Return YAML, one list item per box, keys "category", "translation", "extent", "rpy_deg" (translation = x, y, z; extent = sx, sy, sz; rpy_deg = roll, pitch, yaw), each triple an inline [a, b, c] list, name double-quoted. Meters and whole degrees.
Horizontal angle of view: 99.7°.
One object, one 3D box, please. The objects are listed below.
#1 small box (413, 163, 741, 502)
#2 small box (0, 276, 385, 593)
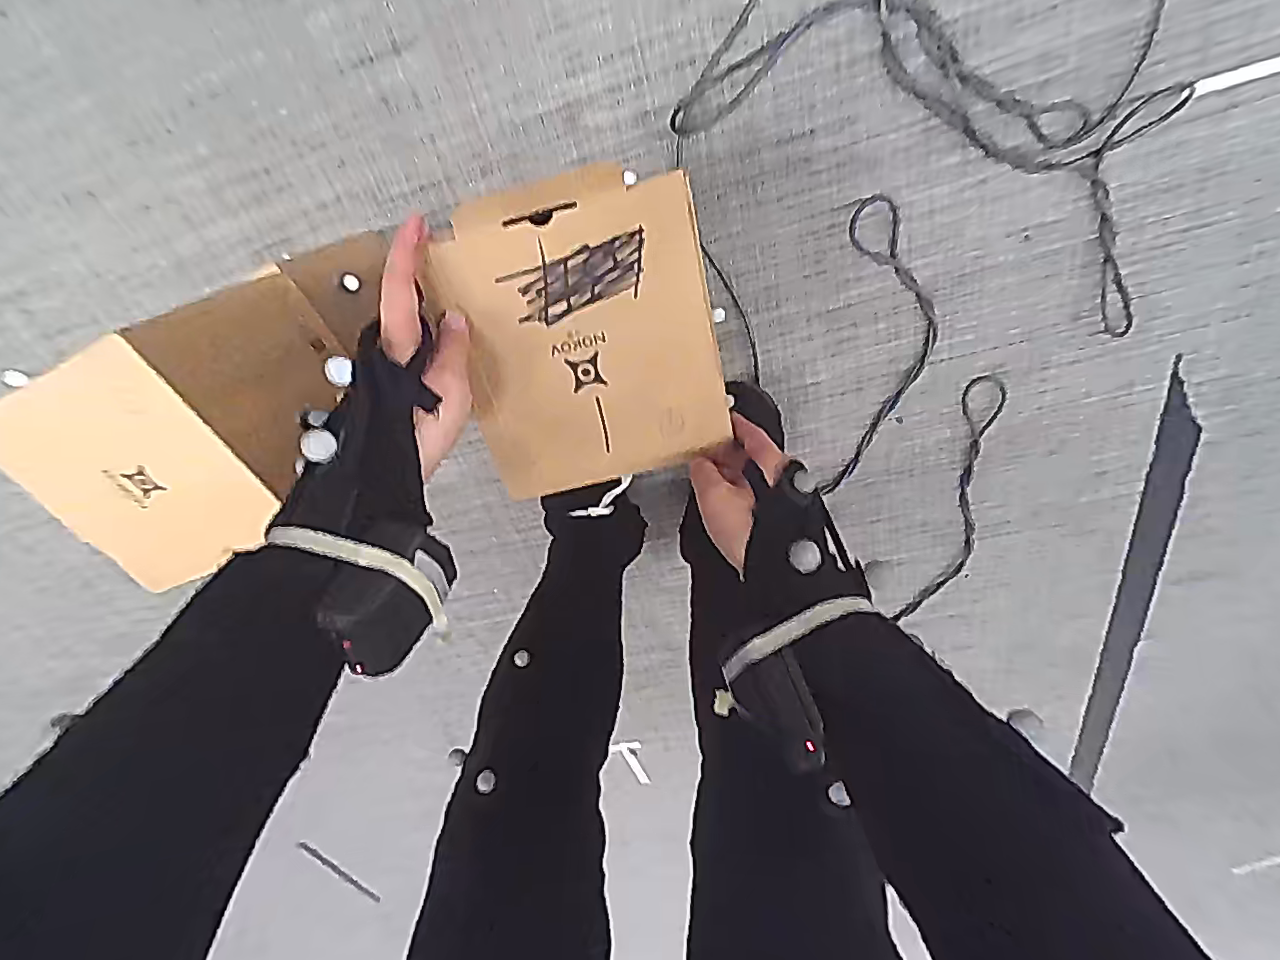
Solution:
- category: "small box"
  translation: [-0.031, -0.111, 0.402]
  extent: [0.168, 0.176, 0.179]
  rpy_deg: [-12, 116, 7]
- category: "small box"
  translation: [-0.341, -0.042, 0.439]
  extent: [0.179, 0.176, 0.168]
  rpy_deg: [-19, 119, 16]
